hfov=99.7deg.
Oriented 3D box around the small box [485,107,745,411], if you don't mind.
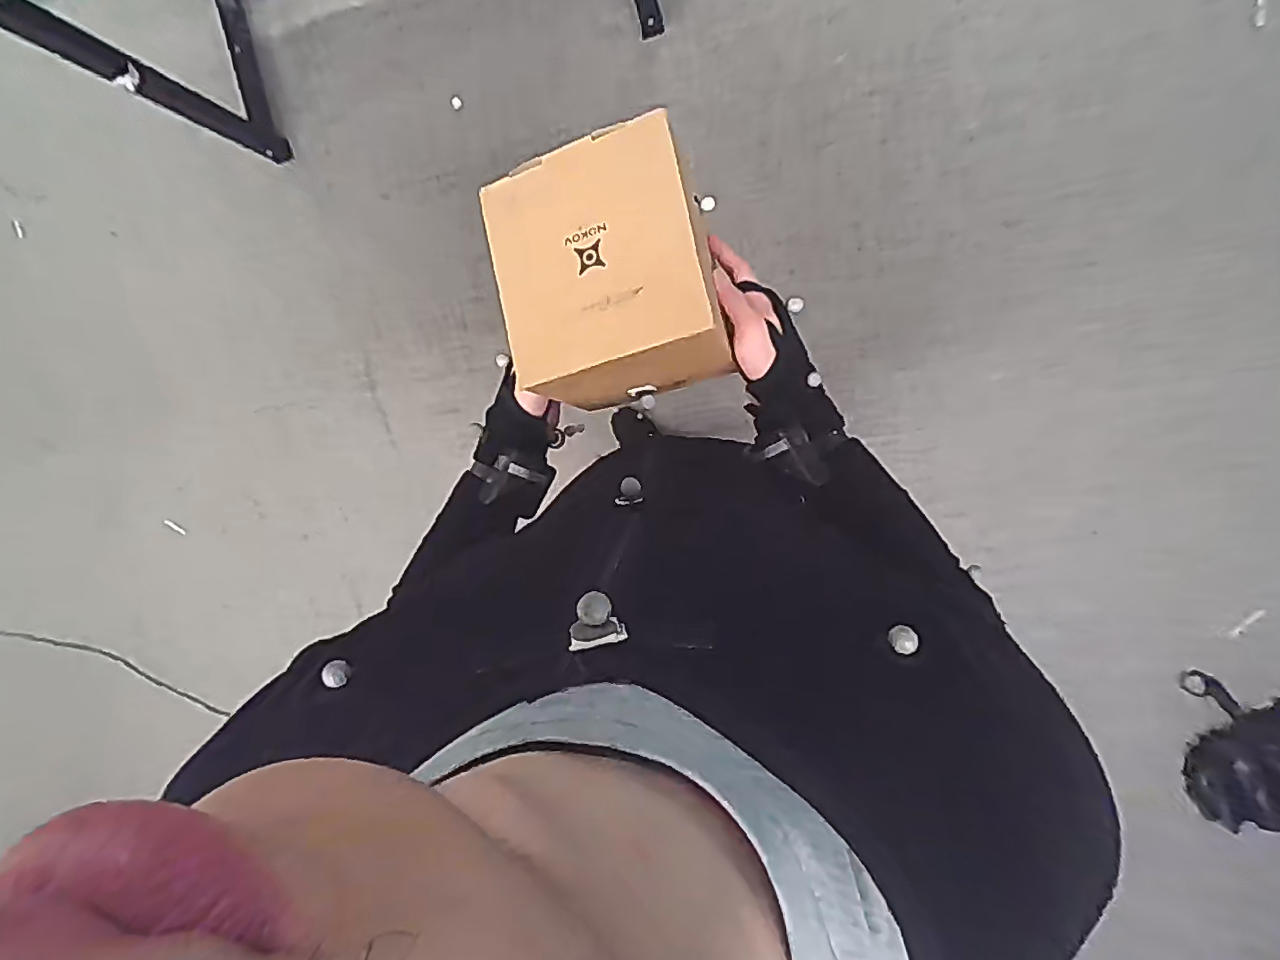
[{"bbox_3d":[-0.010,-0.175,0.493,0.168,0.176,0.179,-15,85,17],"label":"small box"}]
